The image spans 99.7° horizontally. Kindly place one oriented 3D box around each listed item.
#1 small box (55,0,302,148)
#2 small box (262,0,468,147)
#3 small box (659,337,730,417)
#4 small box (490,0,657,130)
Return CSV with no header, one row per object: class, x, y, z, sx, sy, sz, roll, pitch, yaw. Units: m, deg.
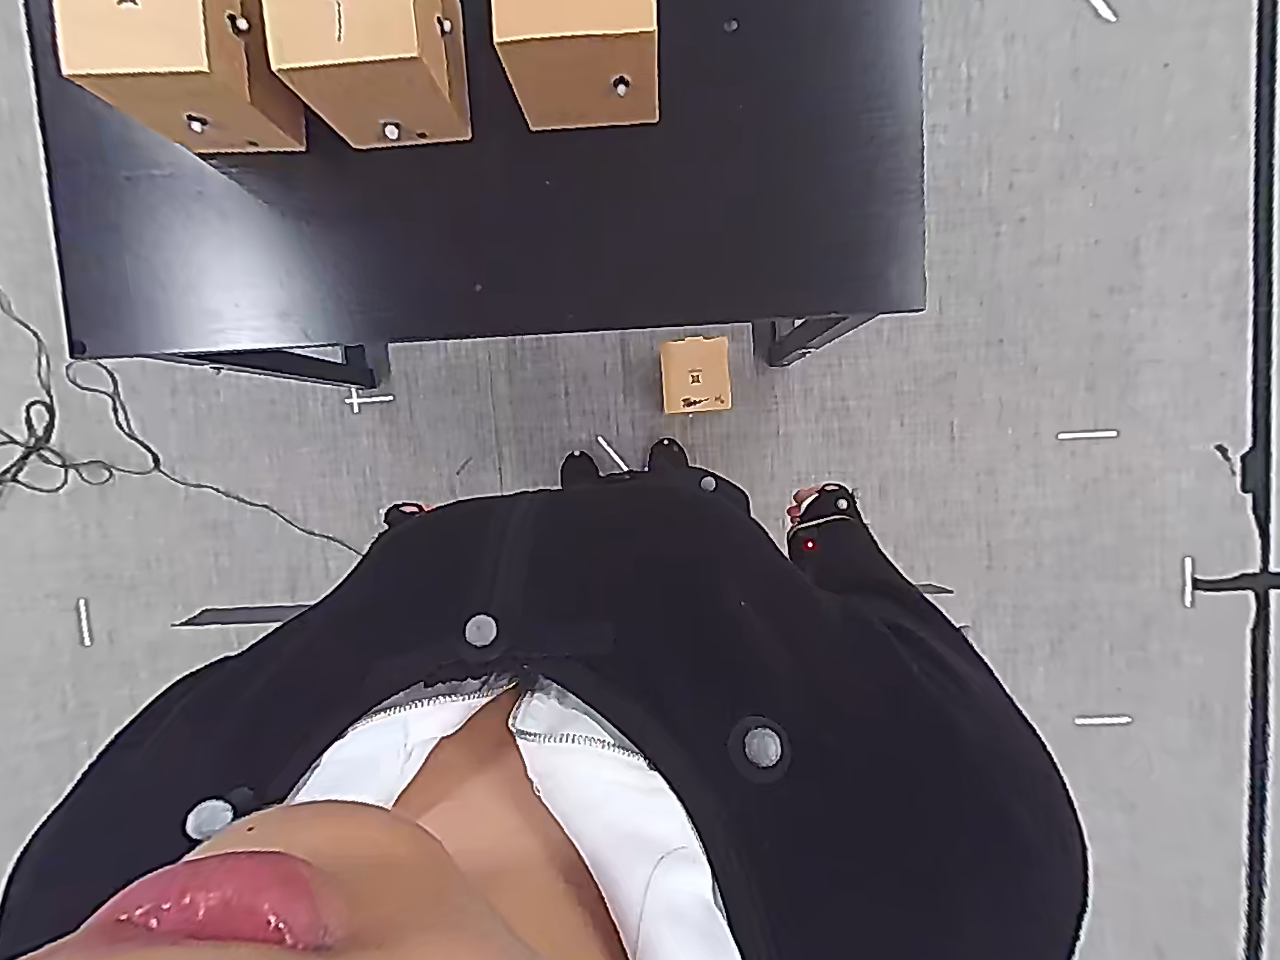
small box,-0.543,-0.531,0.657,0.168,0.176,0.179,0,94,1
small box,-0.318,-0.538,0.650,0.168,0.176,0.179,-3,95,2
small box,0.135,-0.259,1.388,0.168,0.176,0.179,-4,94,3
small box,-0.071,-0.551,0.643,0.179,0.176,0.168,-3,93,3
